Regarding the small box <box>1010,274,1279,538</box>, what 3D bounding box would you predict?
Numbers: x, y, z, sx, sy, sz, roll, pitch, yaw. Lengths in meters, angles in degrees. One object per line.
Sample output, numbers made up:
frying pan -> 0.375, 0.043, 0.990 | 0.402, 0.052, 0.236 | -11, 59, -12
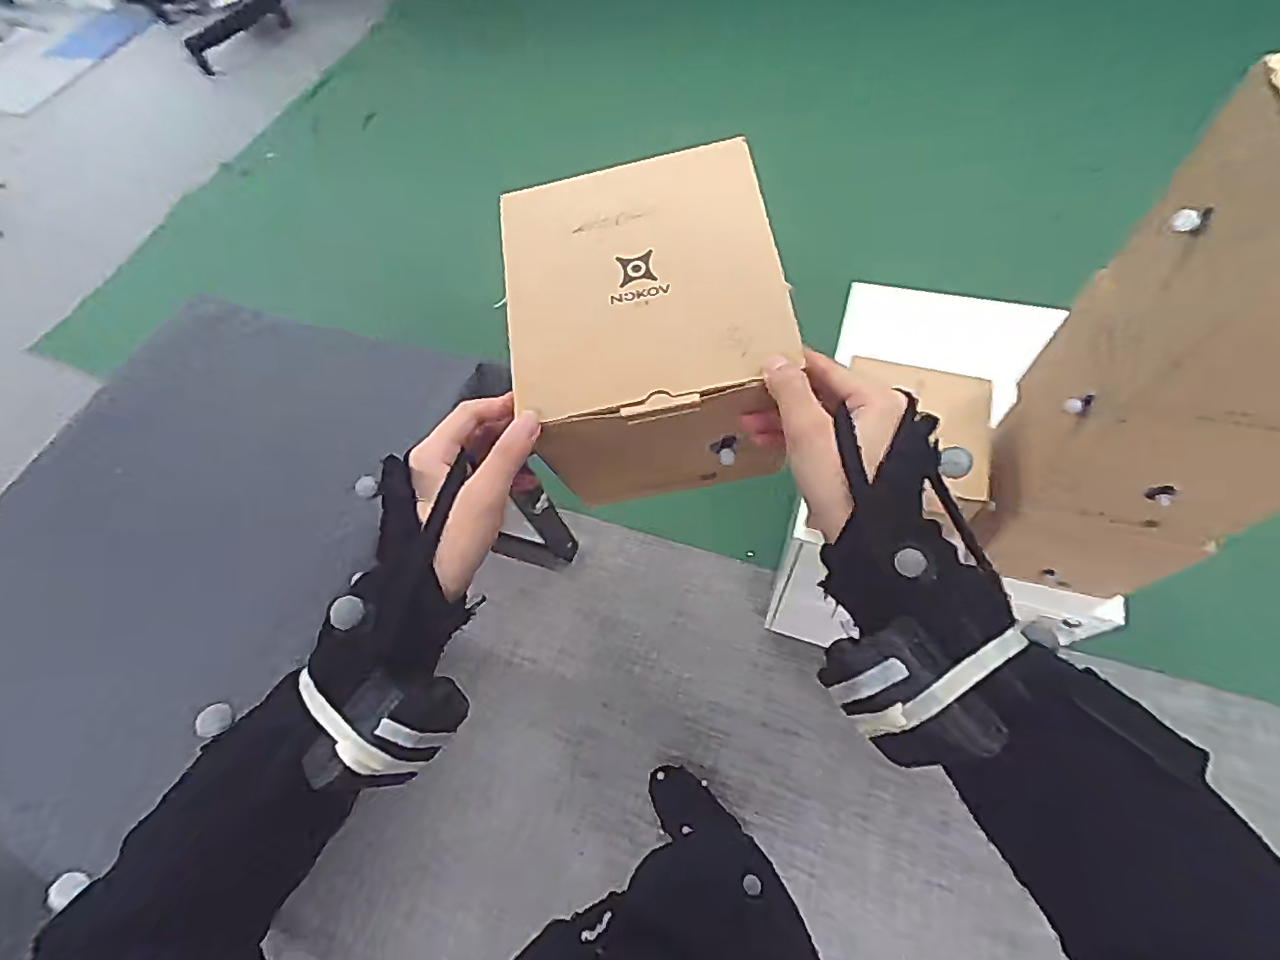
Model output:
small box -> 0.479, -0.062, 0.511 | 0.168, 0.176, 0.179 | 11, 64, 13
